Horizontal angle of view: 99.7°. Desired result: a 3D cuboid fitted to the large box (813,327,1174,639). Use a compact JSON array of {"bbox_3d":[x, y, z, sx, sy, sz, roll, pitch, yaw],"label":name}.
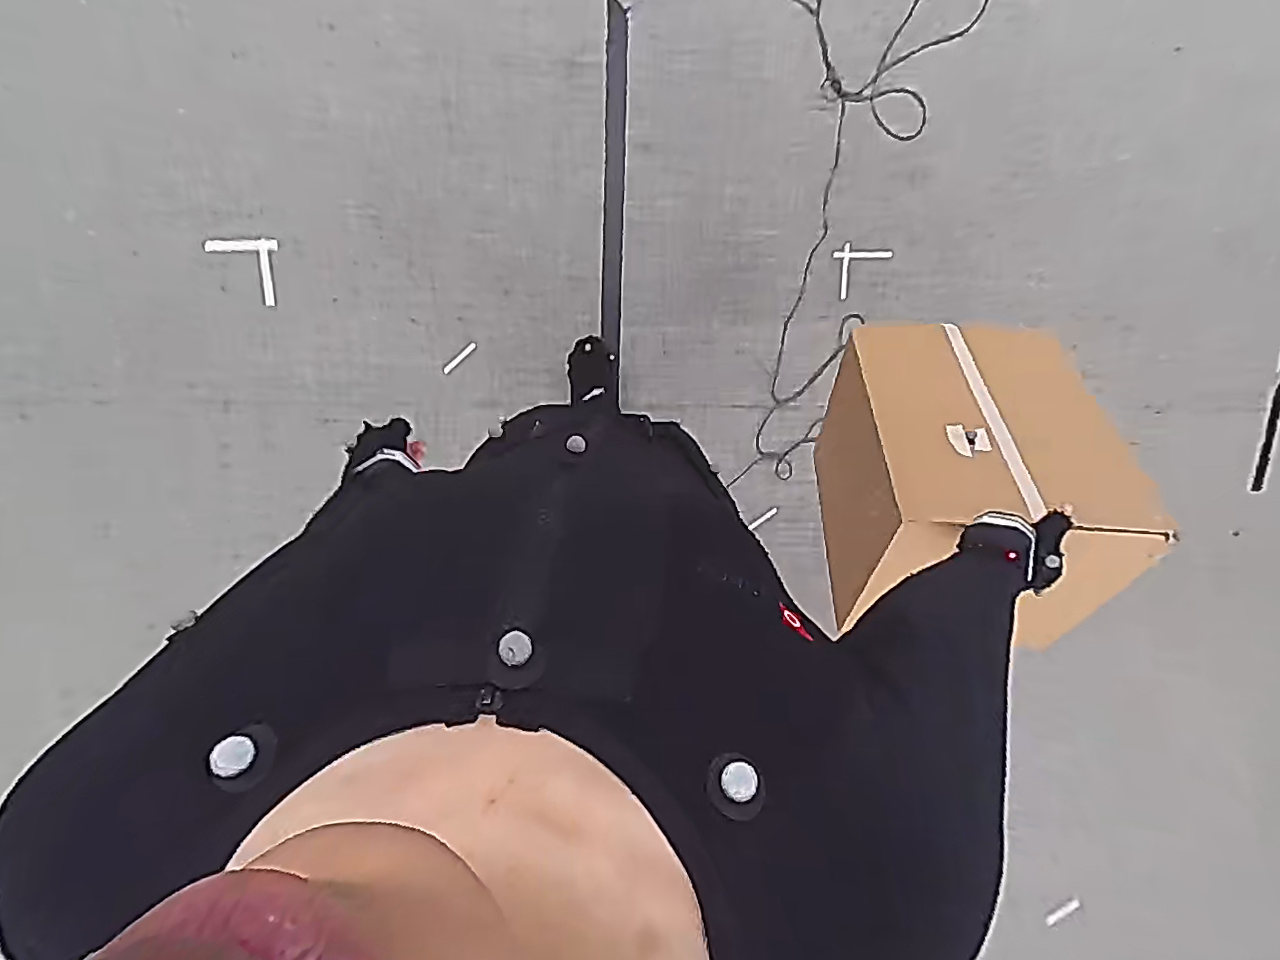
[{"bbox_3d":[0.495,0.001,0.885,0.320,0.408,0.320,3,141,4],"label":"large box"}]
